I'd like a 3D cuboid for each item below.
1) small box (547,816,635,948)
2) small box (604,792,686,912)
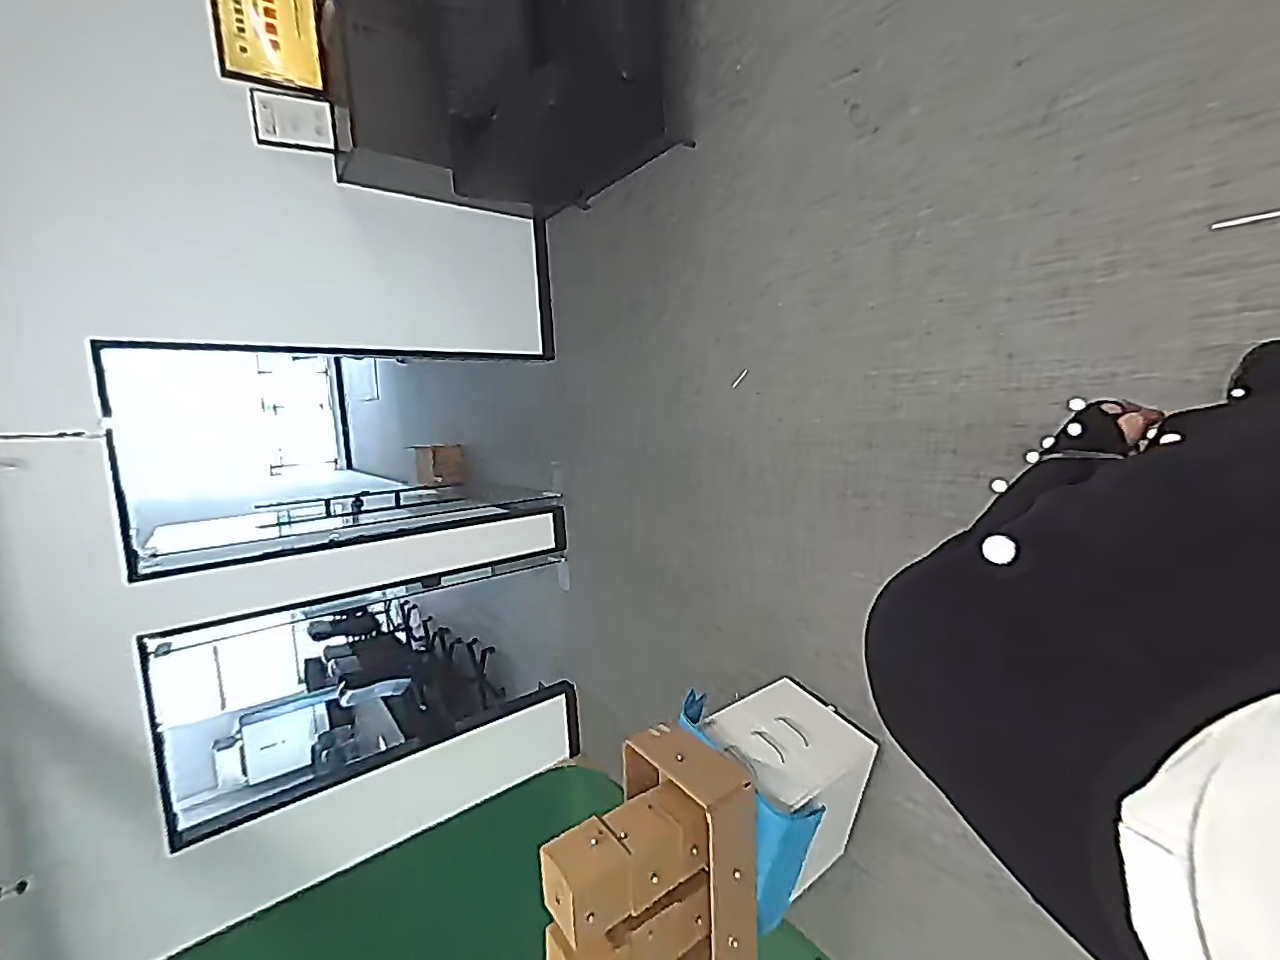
[{"bbox_3d":[-0.124,1.023,1.392,0.168,0.176,0.179,10,105,52],"label":"small box"},{"bbox_3d":[0.013,1.010,1.485,0.168,0.176,0.179,7,104,53],"label":"small box"}]
